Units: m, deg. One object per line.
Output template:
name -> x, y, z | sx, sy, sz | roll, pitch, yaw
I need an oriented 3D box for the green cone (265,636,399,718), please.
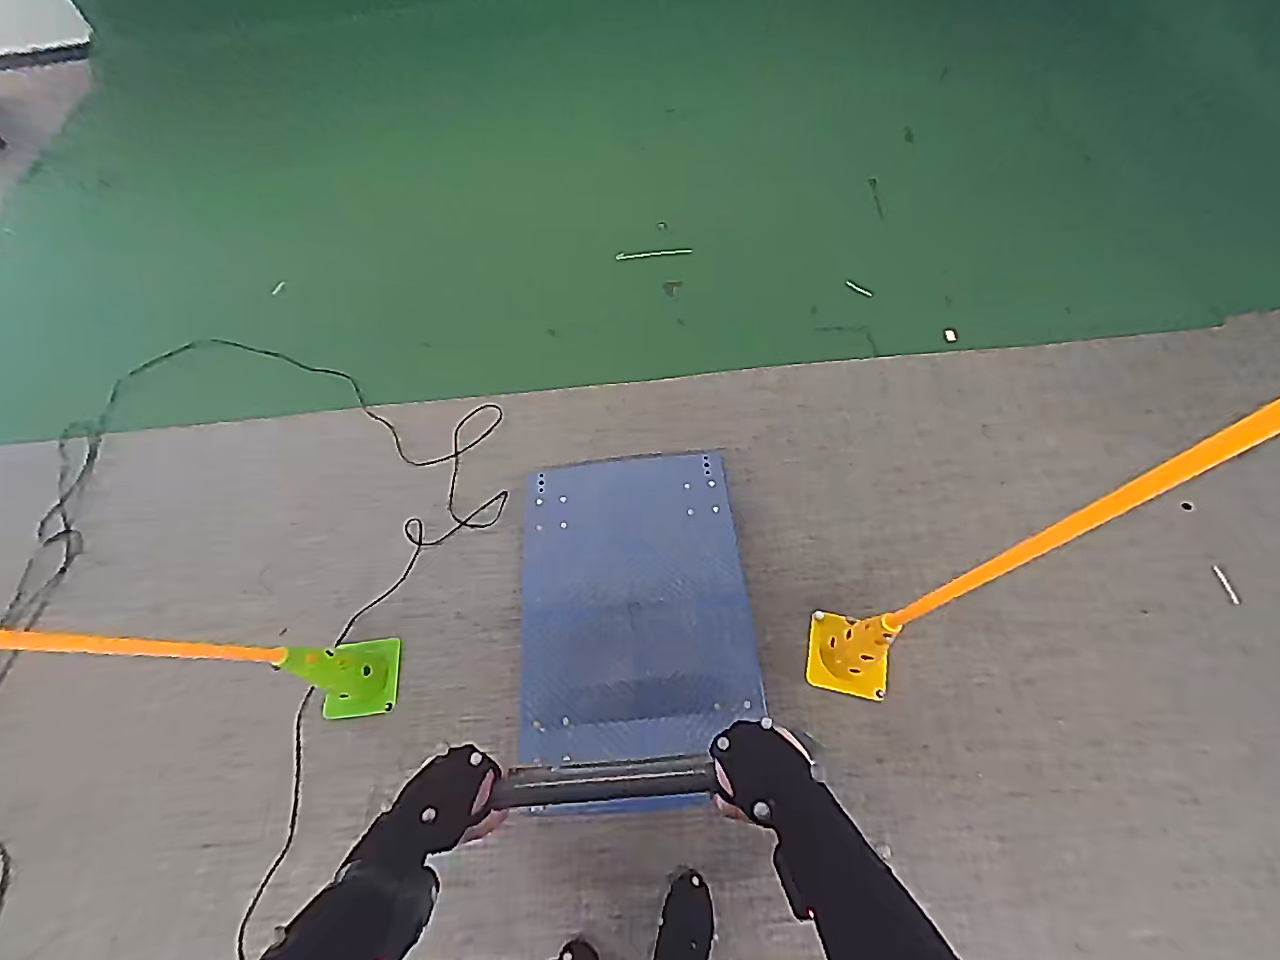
green cone -> -0.792, 0.468, 1.359 | 0.202, 0.368, 0.200 | -10, 61, 2
